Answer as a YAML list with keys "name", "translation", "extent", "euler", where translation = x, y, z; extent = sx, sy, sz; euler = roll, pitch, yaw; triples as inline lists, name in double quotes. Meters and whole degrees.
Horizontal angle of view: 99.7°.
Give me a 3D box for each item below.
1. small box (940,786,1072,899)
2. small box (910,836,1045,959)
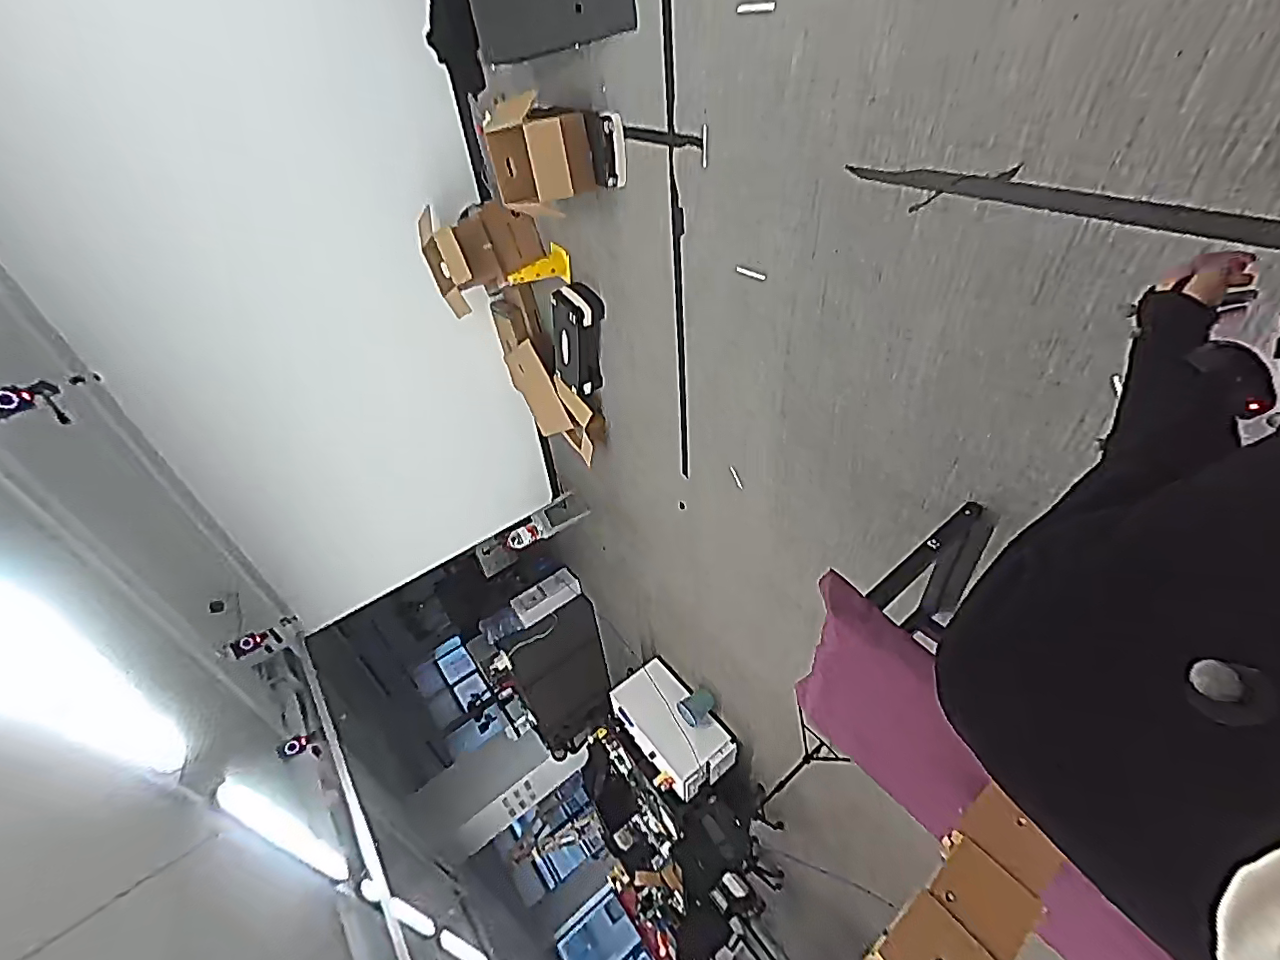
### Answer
- name: "small box"
  translation: [0.848, 0.853, 1.261]
  extent: [0.179, 0.176, 0.168]
  euler: [37, 148, 41]
- name: "small box"
  translation: [0.730, 0.929, 1.175]
  extent: [0.179, 0.176, 0.168]
  euler: [37, 148, 41]
